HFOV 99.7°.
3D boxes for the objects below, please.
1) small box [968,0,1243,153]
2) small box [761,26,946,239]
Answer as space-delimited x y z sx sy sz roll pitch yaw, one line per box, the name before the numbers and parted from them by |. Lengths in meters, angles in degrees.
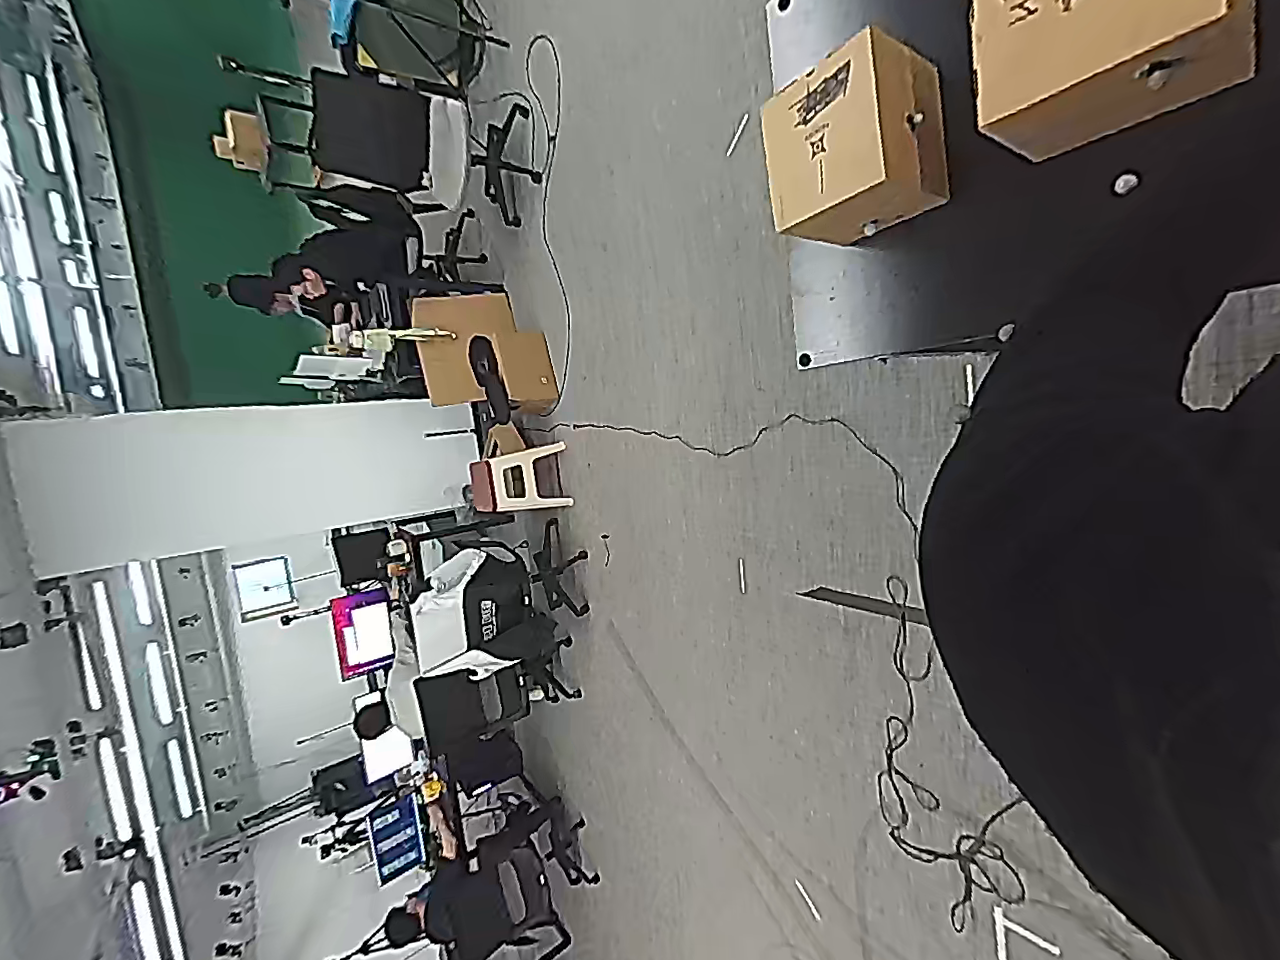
small box | 0.449 -0.453 0.524 0.179 0.176 0.168 1 99 54
small box | 0.292 -0.453 0.740 0.168 0.176 0.179 -2 98 54
